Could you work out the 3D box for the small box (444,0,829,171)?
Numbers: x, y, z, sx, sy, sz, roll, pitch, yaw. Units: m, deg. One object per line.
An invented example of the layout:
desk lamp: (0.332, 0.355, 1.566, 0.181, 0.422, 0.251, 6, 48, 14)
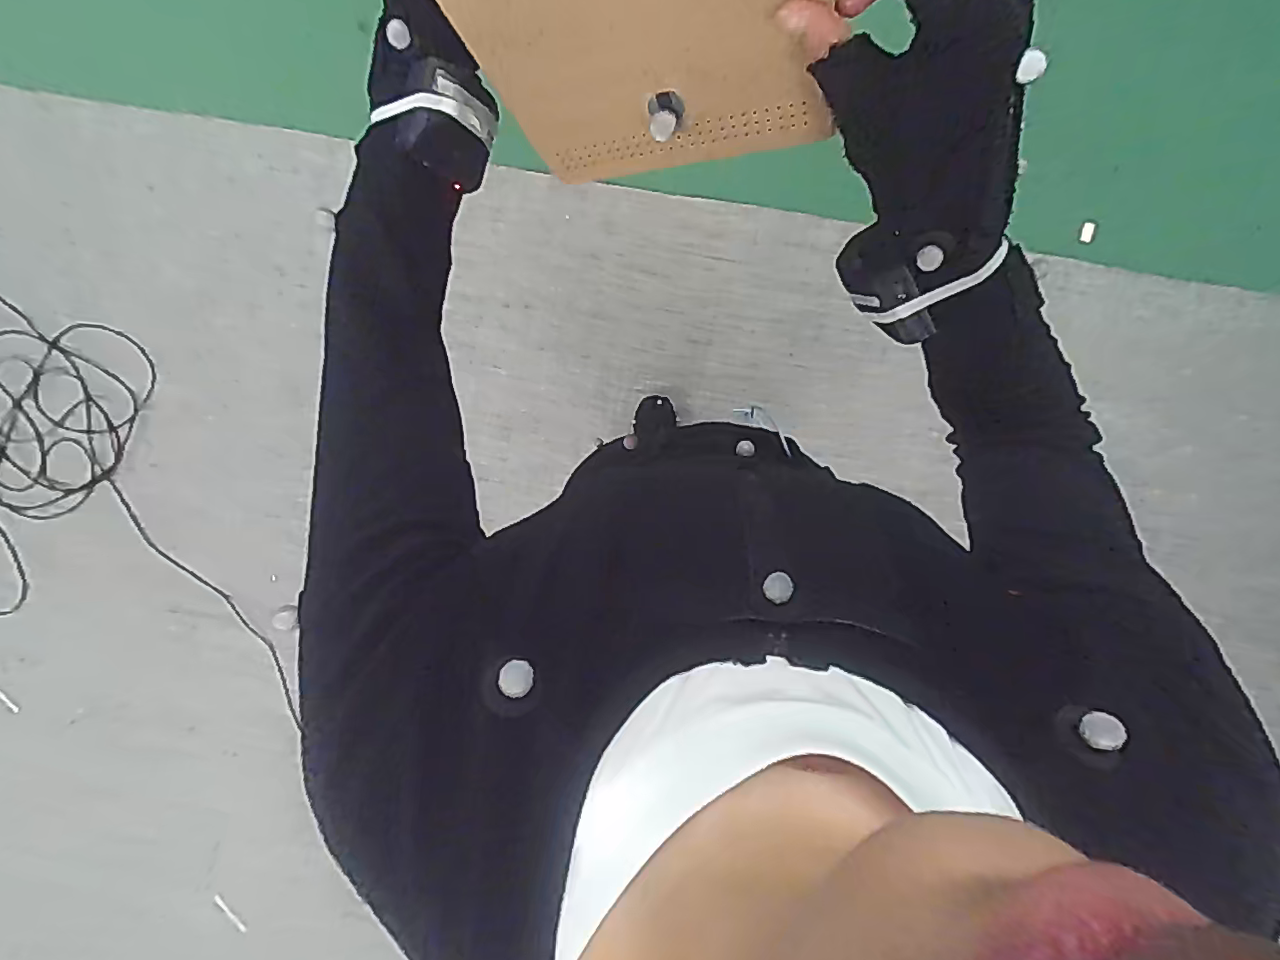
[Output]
small box: (0.007, -0.298, 0.279, 0.179, 0.176, 0.168, 3, 78, 21)
